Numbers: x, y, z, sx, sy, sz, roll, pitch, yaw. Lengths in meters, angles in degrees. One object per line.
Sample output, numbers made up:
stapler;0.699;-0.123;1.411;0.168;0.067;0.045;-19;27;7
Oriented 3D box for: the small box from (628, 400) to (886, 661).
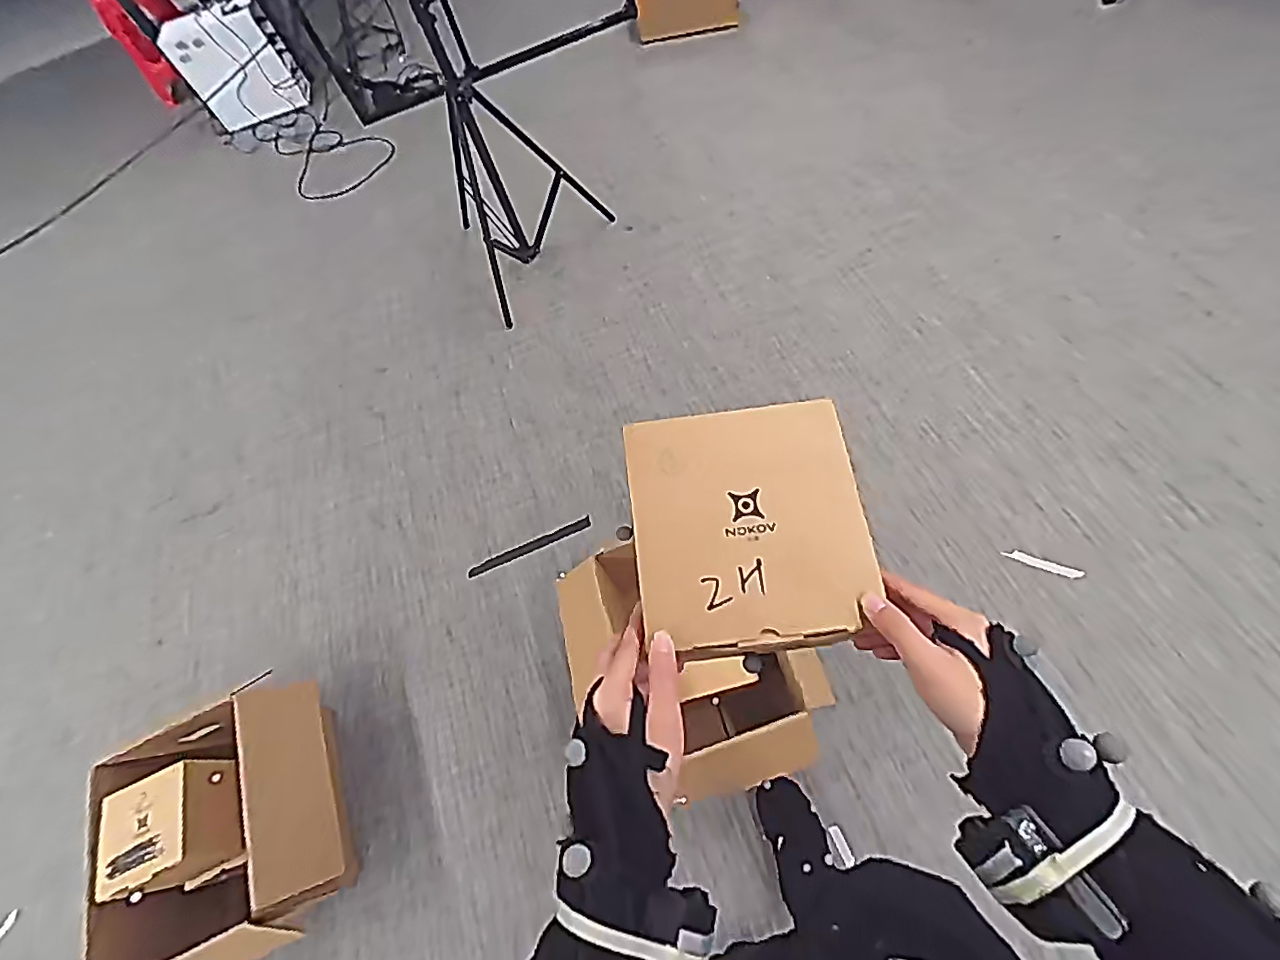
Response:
small box;0.082;0.054;0.470;0.168;0.176;0.179;-7;69;2
